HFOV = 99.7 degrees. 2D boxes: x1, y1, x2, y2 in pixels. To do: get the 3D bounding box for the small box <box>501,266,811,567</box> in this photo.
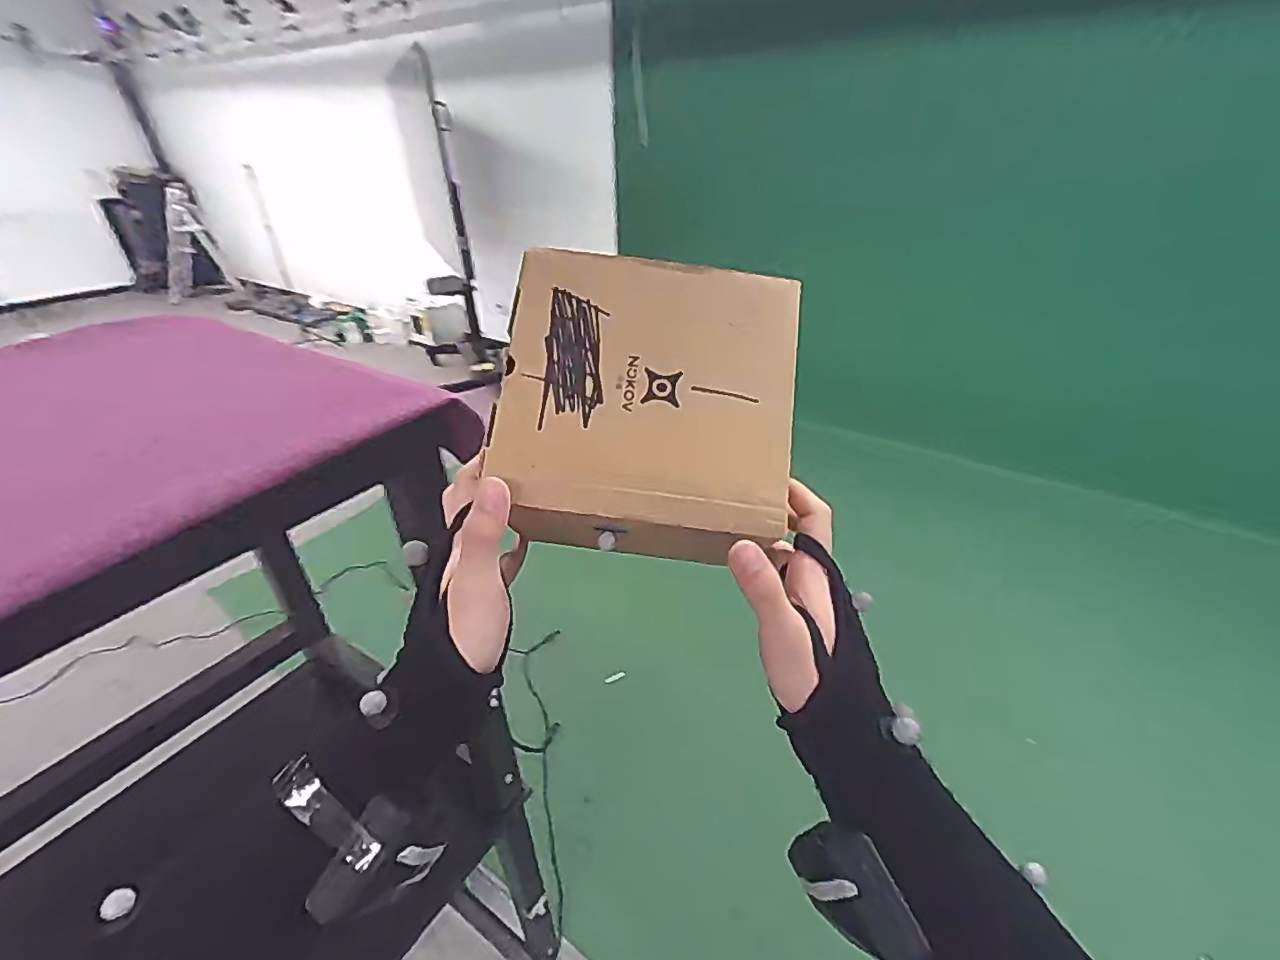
[{"bbox_3d":[0.012,-0.030,0.410,0.179,0.176,0.168,8,76,-1],"label":"small box"}]
